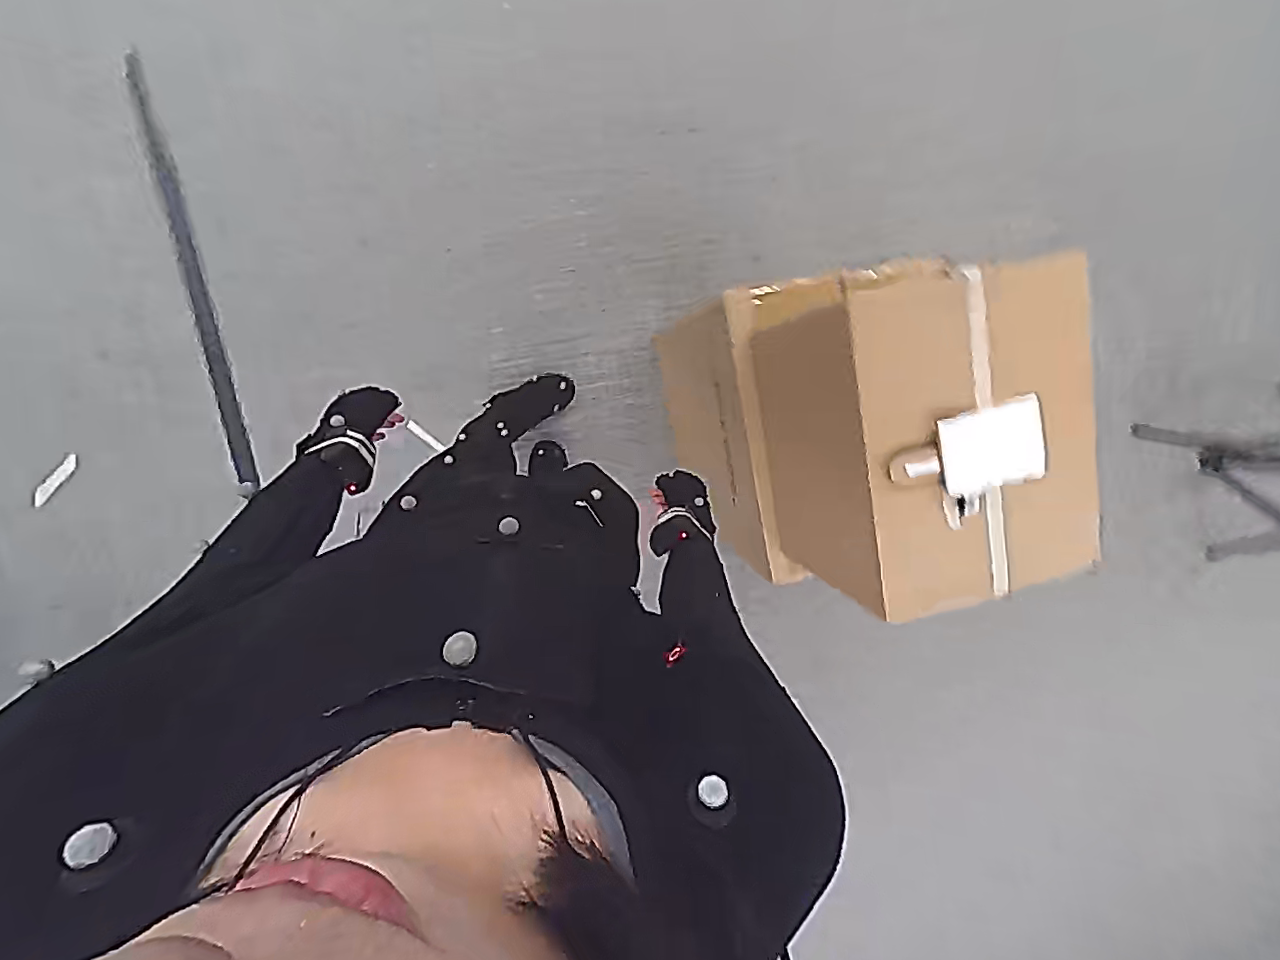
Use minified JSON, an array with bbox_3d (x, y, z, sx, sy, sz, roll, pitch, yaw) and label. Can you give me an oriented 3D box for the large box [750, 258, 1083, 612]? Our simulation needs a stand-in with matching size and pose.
[{"bbox_3d":[0.392,-0.074,0.823,0.320,0.320,0.408,-12,101,-7],"label":"large box"}]
